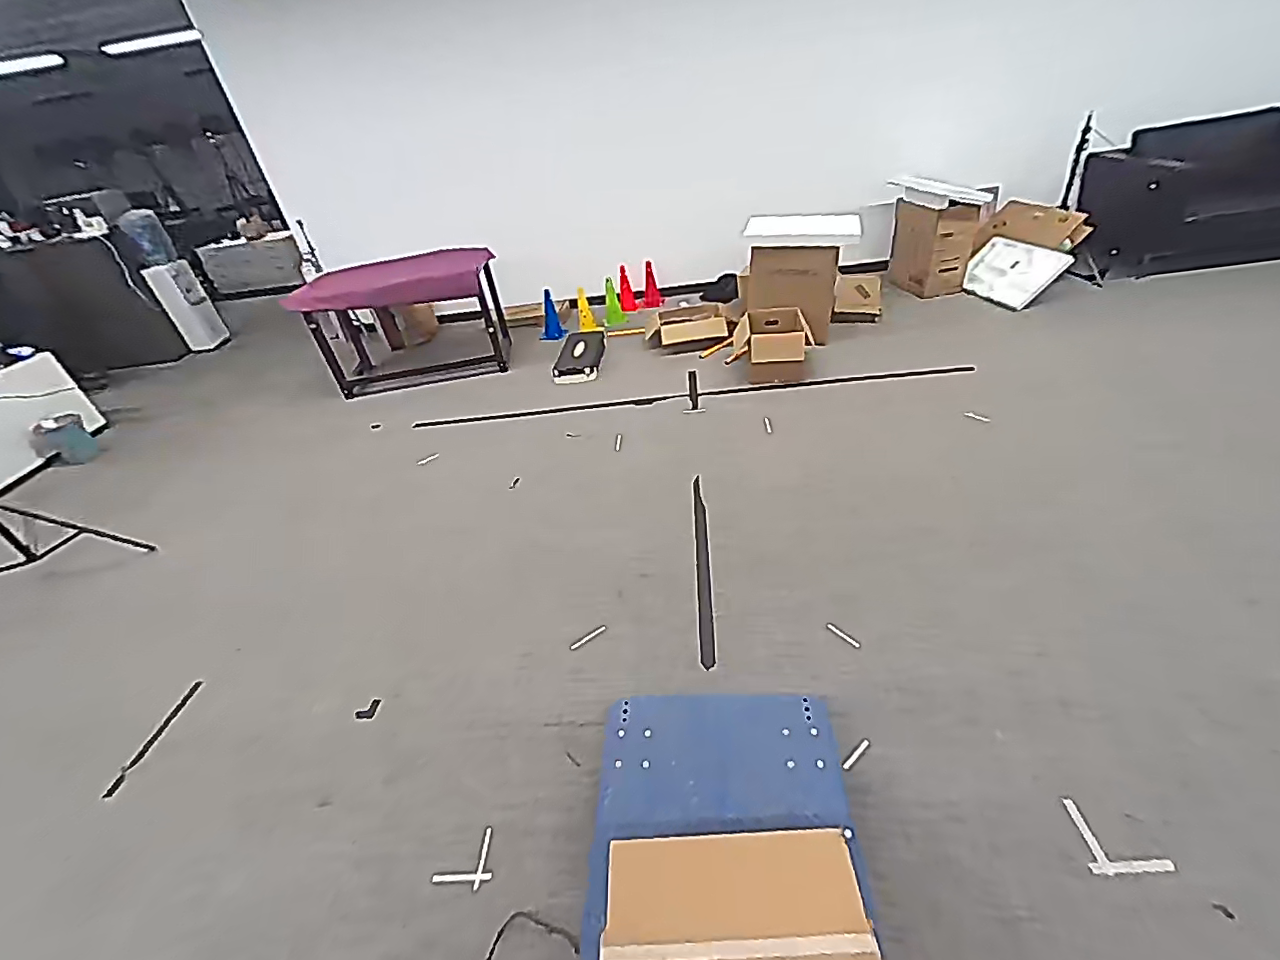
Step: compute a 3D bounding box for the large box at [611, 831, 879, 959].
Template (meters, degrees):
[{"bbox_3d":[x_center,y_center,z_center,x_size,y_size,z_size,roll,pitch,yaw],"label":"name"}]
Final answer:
[{"bbox_3d":[0.168,0.834,0.900,0.408,0.320,0.320,-5,36,3],"label":"large box"}]
